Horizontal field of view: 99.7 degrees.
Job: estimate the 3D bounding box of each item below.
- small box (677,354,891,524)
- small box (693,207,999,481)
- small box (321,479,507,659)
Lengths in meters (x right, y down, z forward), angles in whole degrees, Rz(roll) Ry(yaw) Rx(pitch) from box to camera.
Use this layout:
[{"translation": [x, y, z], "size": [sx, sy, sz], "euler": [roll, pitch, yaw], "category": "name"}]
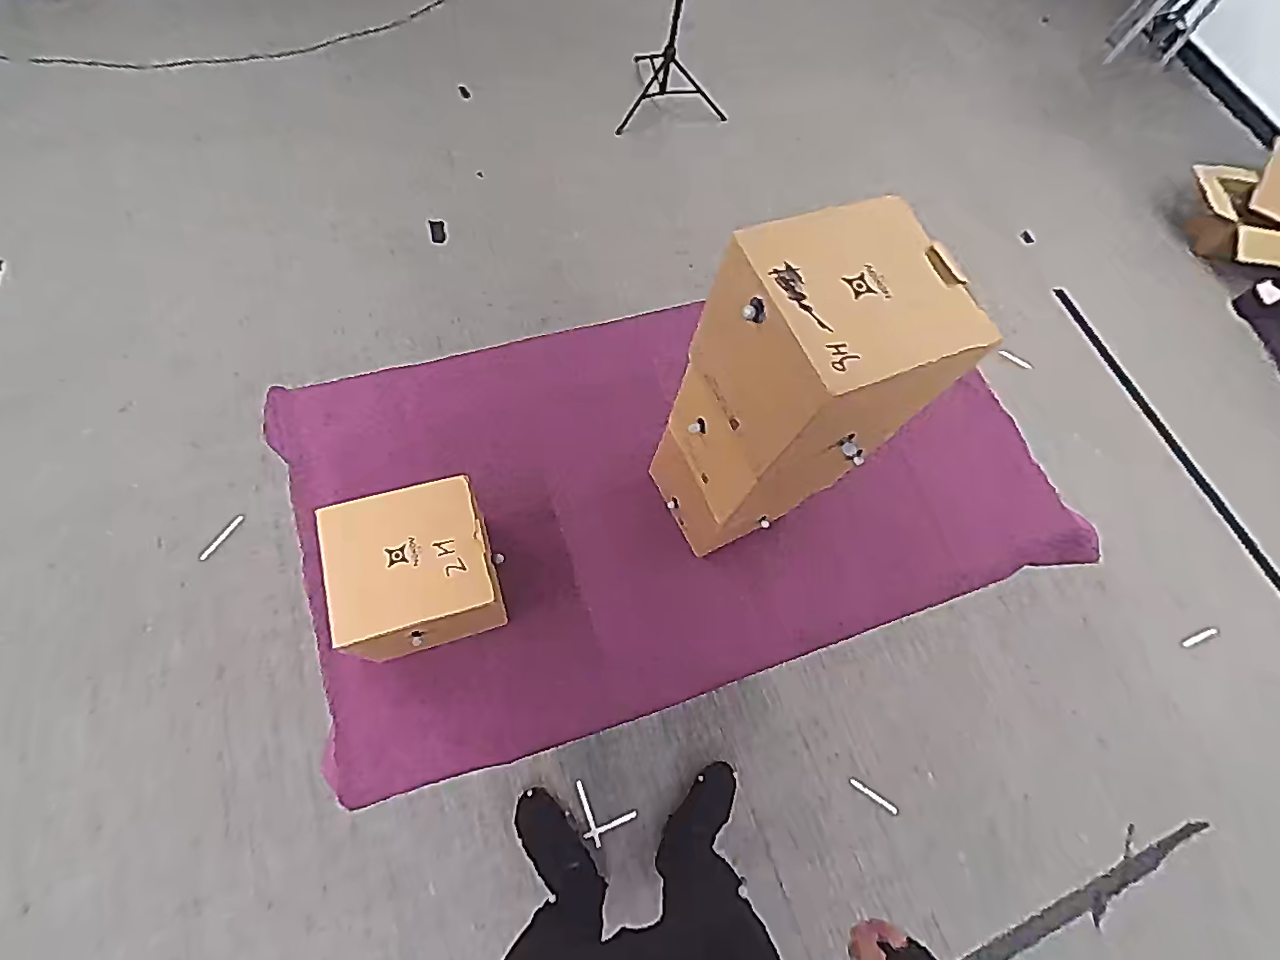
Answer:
[{"translation": [0.157, -0.063, 0.666], "size": [0.179, 0.176, 0.168], "euler": [-19, 72, -16], "category": "small box"}, {"translation": [0.173, -0.120, 0.513], "size": [0.179, 0.176, 0.168], "euler": [-18, 71, -16], "category": "small box"}, {"translation": [-0.279, 0.121, 0.697], "size": [0.179, 0.176, 0.168], "euler": [-13, 70, -15], "category": "small box"}]
